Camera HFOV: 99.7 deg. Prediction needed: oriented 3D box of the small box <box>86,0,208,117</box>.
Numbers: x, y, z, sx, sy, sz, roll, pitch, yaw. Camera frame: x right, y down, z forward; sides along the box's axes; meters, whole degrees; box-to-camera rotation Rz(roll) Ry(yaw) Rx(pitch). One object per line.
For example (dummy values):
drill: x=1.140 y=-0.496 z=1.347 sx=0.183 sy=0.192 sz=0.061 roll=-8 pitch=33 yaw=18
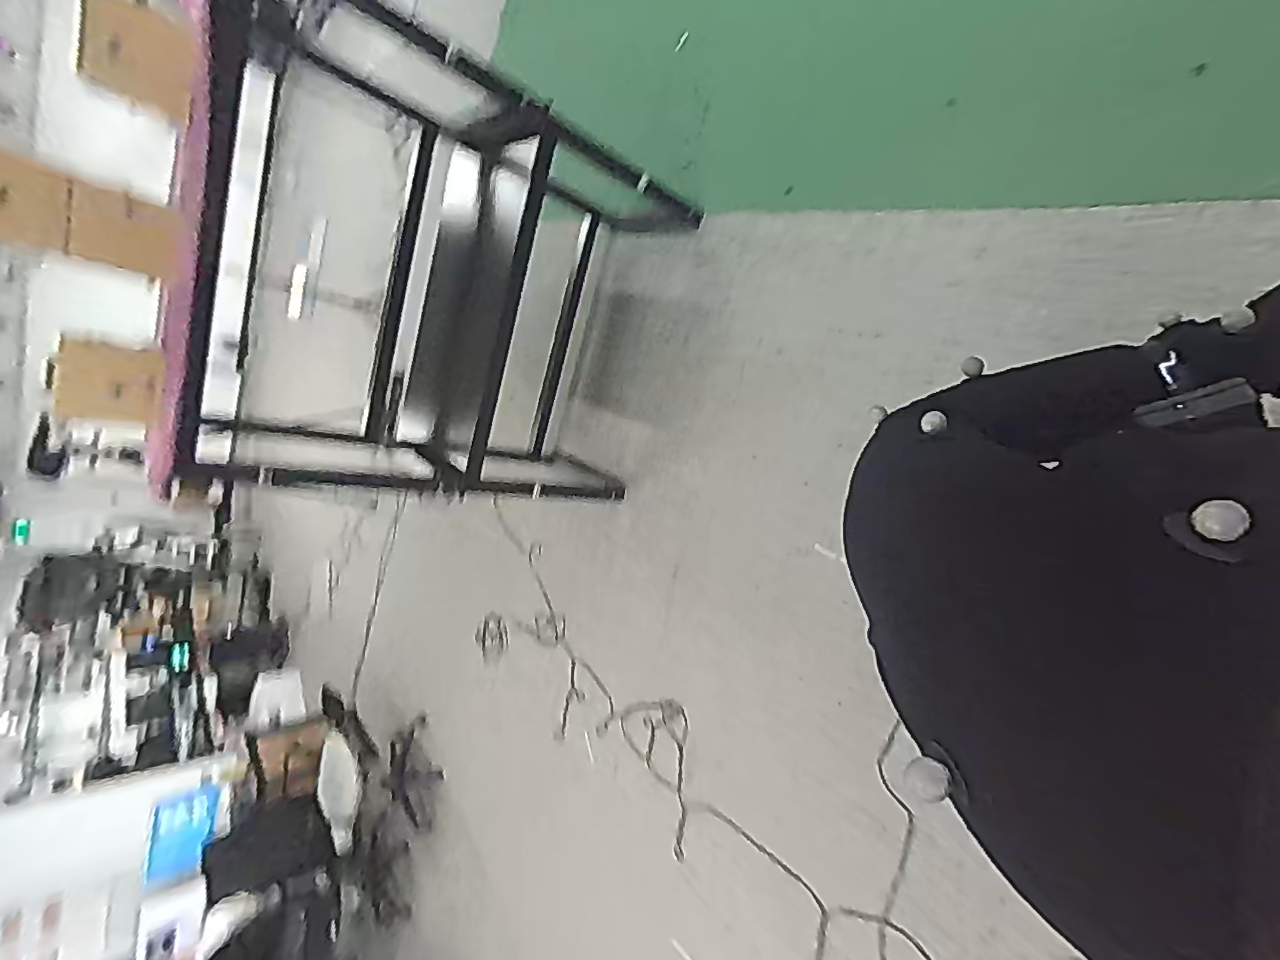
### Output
small box: x=-1.006 y=-0.880 z=1.112 sx=0.168 sy=0.176 sz=0.179 roll=29 pitch=107 yaw=45

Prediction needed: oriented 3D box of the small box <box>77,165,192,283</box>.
small box: x=-1.082 y=-0.543 z=1.163 sx=0.168 sy=0.176 sz=0.179 roll=25 pitch=105 yaw=44

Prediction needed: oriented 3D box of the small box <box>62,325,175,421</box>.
small box: x=-1.165 y=-0.237 z=1.213 sx=0.179 sy=0.176 sz=0.168 roll=25 pitch=102 yaw=43
